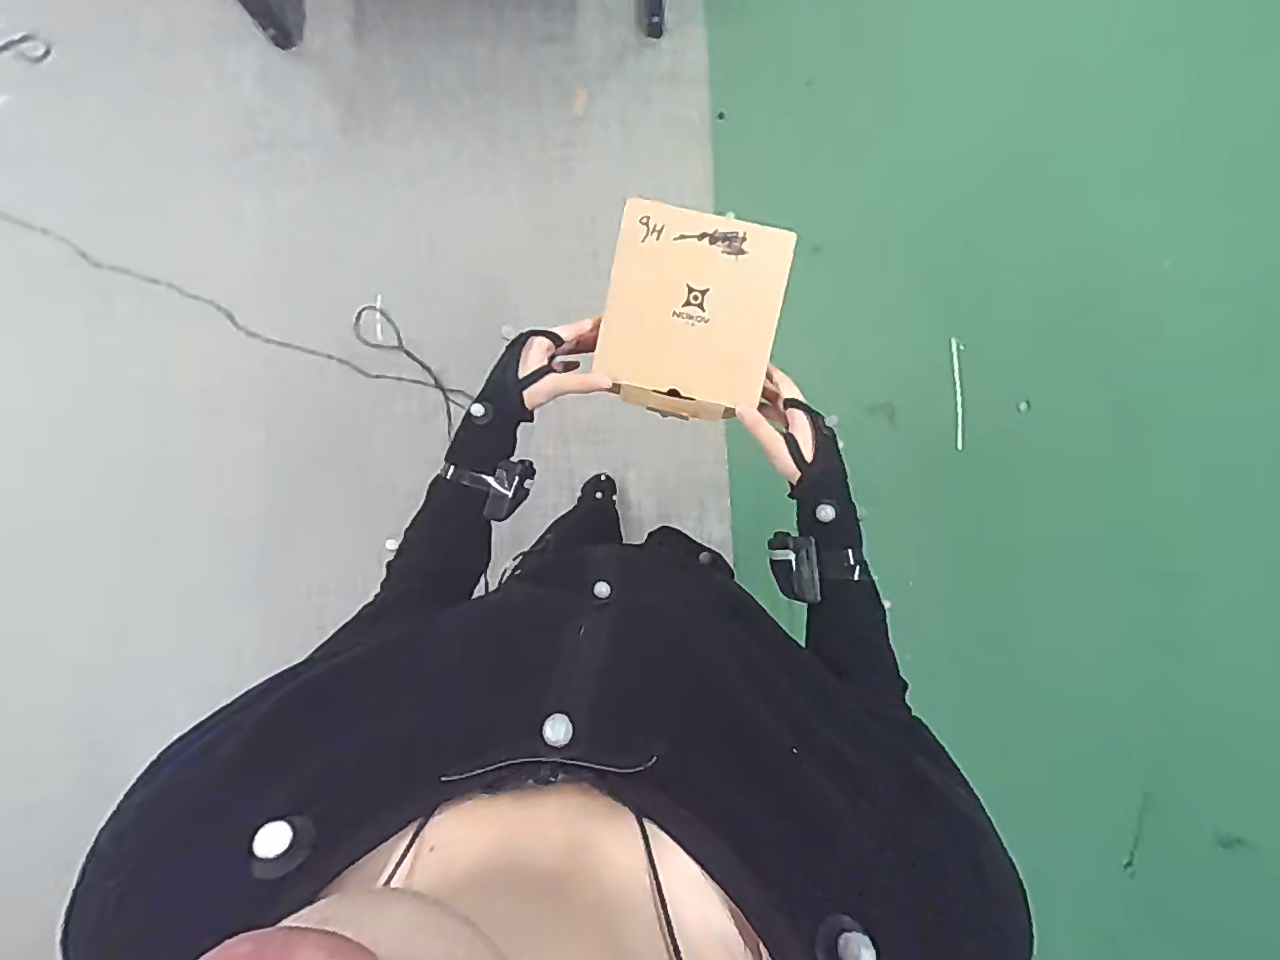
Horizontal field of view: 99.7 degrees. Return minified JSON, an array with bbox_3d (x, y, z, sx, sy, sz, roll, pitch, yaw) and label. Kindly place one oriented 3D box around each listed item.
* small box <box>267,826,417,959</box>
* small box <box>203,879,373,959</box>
[{"bbox_3d":[-0.543,0.781,1.006,0.168,0.176,0.179,-16,86,1],"label":"small box"},{"bbox_3d":[-0.550,0.768,0.842,0.168,0.176,0.179,-17,87,2],"label":"small box"}]
